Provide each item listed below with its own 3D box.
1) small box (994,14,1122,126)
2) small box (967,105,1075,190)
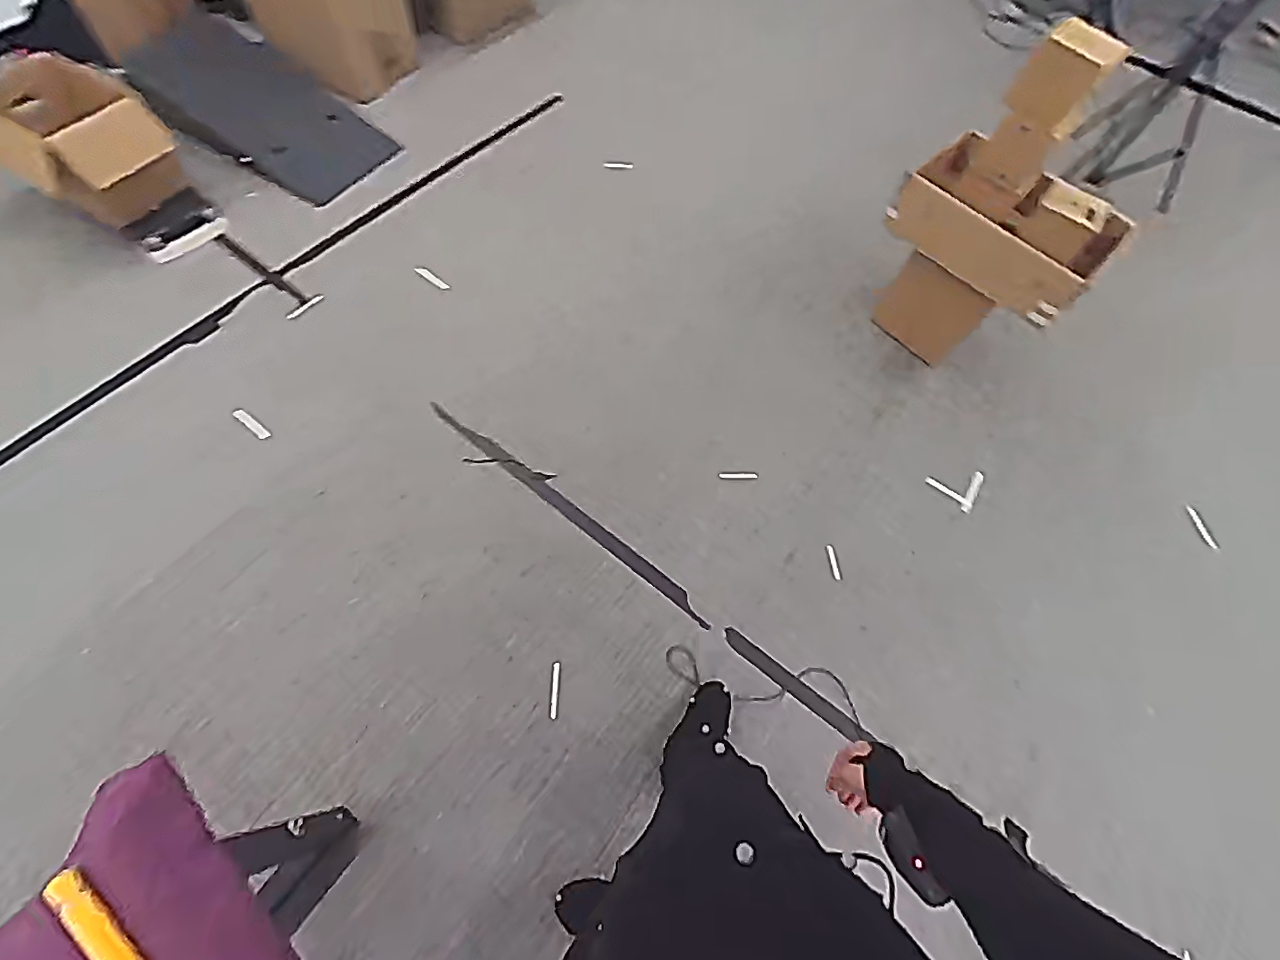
[{"bbox_3d":[1.104,-1.081,1.439,0.168,0.176,0.179,-40,75,-22],"label":"small box"},{"bbox_3d":[1.104,-0.994,1.579,0.168,0.176,0.179,41,66,13],"label":"small box"}]
